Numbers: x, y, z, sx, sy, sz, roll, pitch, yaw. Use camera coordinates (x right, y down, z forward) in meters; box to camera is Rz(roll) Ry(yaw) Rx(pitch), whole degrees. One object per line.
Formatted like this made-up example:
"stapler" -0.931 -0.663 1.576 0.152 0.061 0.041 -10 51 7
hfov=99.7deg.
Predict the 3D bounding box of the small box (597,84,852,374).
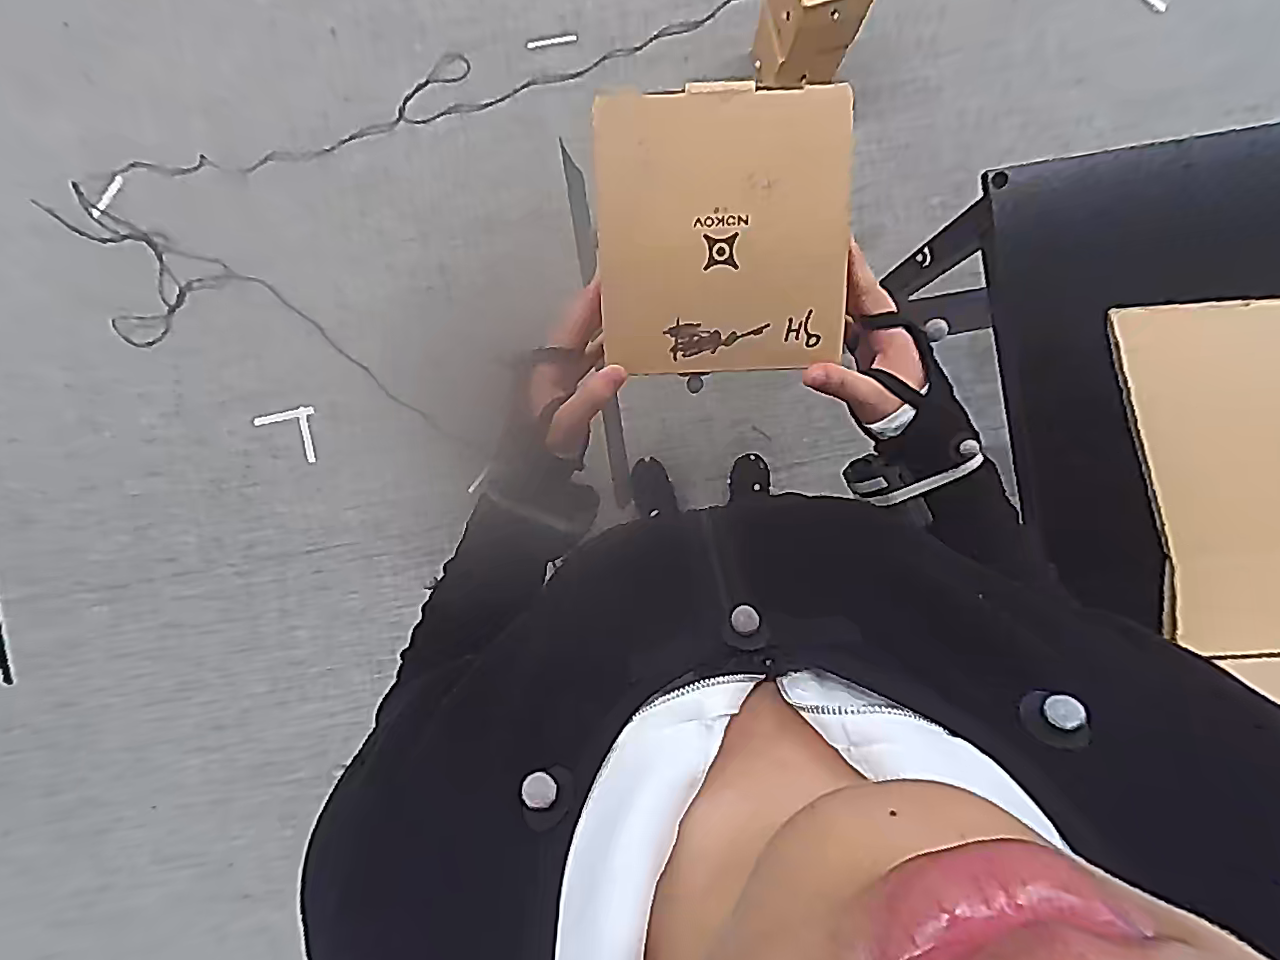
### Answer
"small box" 0.056 -0.177 0.434 0.168 0.176 0.179 -2 102 2

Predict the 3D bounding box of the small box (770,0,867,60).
"small box" 0.407 -1.111 1.234 0.179 0.176 0.168 -16 92 0

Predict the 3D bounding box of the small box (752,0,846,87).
"small box" 0.404 -1.111 1.396 0.179 0.176 0.168 -13 91 2
